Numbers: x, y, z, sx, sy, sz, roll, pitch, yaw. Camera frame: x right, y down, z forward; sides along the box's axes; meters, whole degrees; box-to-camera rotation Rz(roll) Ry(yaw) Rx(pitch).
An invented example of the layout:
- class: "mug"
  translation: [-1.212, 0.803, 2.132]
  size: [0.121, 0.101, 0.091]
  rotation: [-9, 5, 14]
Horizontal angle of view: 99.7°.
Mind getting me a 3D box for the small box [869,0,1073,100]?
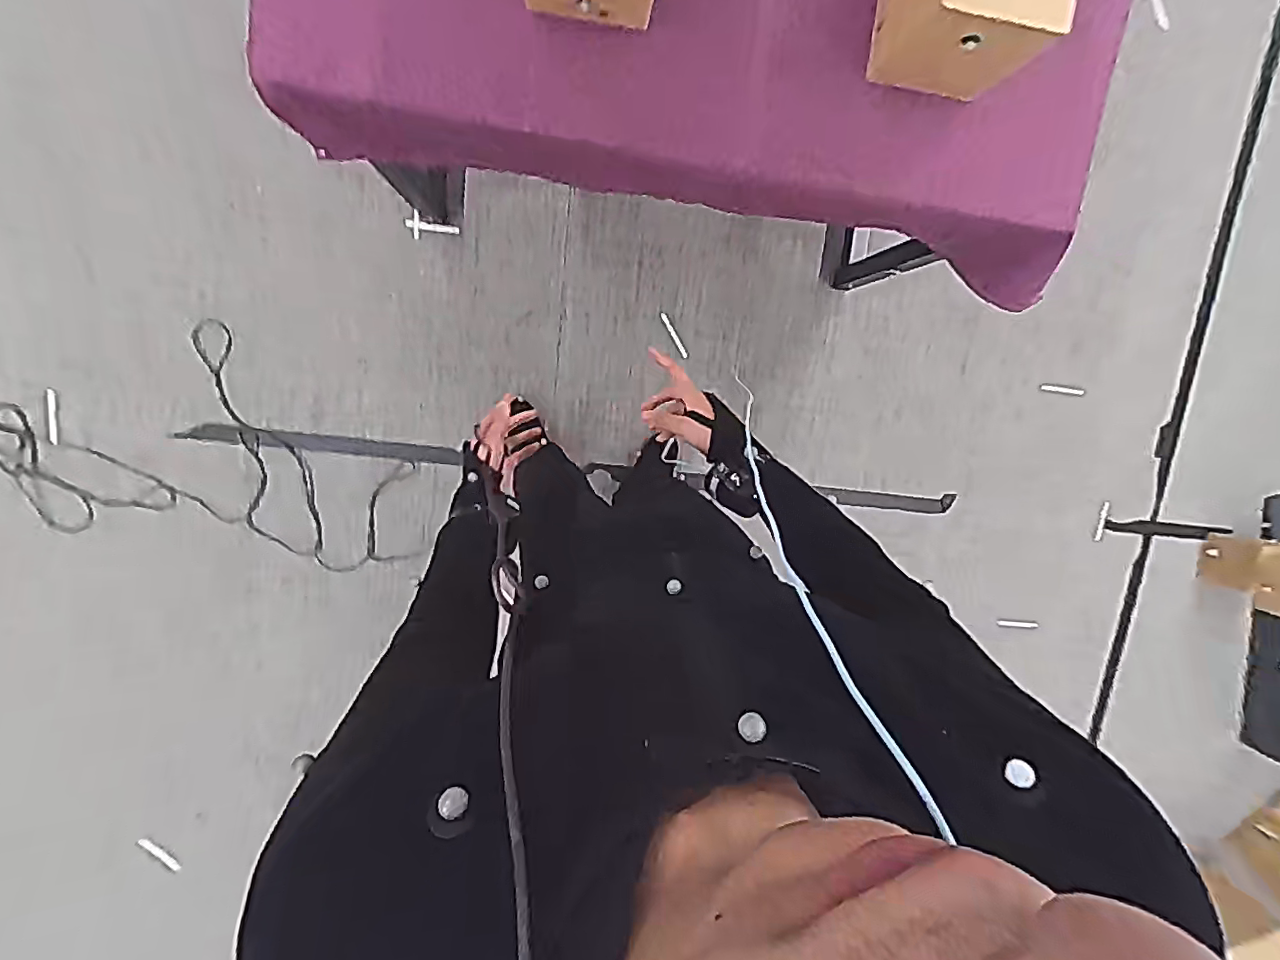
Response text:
- class: "small box"
  translation: [0.432, -0.640, 0.713]
  size: [0.179, 0.176, 0.168]
  rotation: [5, 100, -8]
